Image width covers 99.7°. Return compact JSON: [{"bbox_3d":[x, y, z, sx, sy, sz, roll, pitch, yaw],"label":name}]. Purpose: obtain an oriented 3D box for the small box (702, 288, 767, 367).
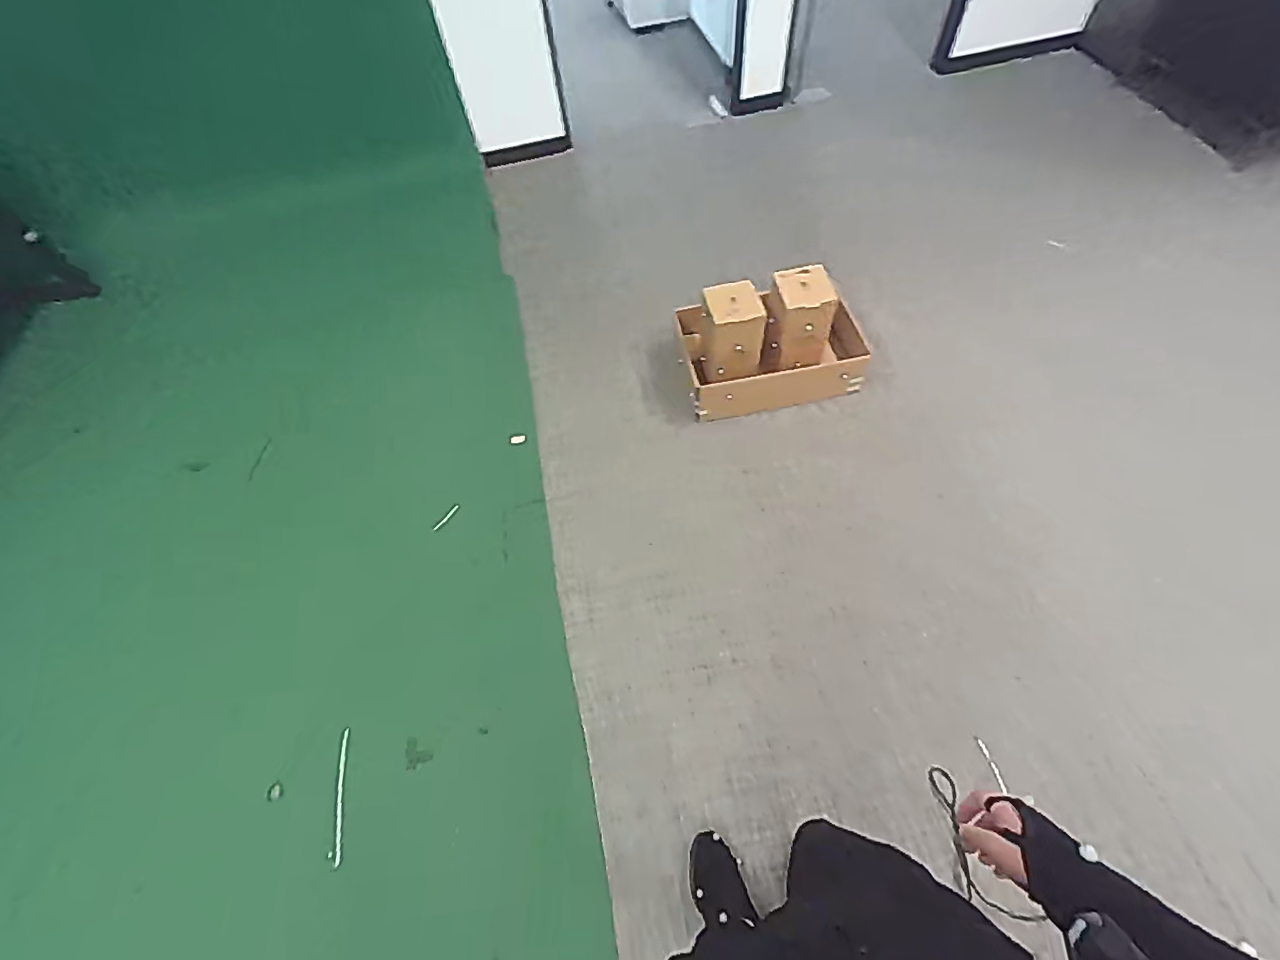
[{"bbox_3d":[0.306,-0.503,1.792,0.168,0.176,0.179,-12,58,-2],"label":"small box"}]
